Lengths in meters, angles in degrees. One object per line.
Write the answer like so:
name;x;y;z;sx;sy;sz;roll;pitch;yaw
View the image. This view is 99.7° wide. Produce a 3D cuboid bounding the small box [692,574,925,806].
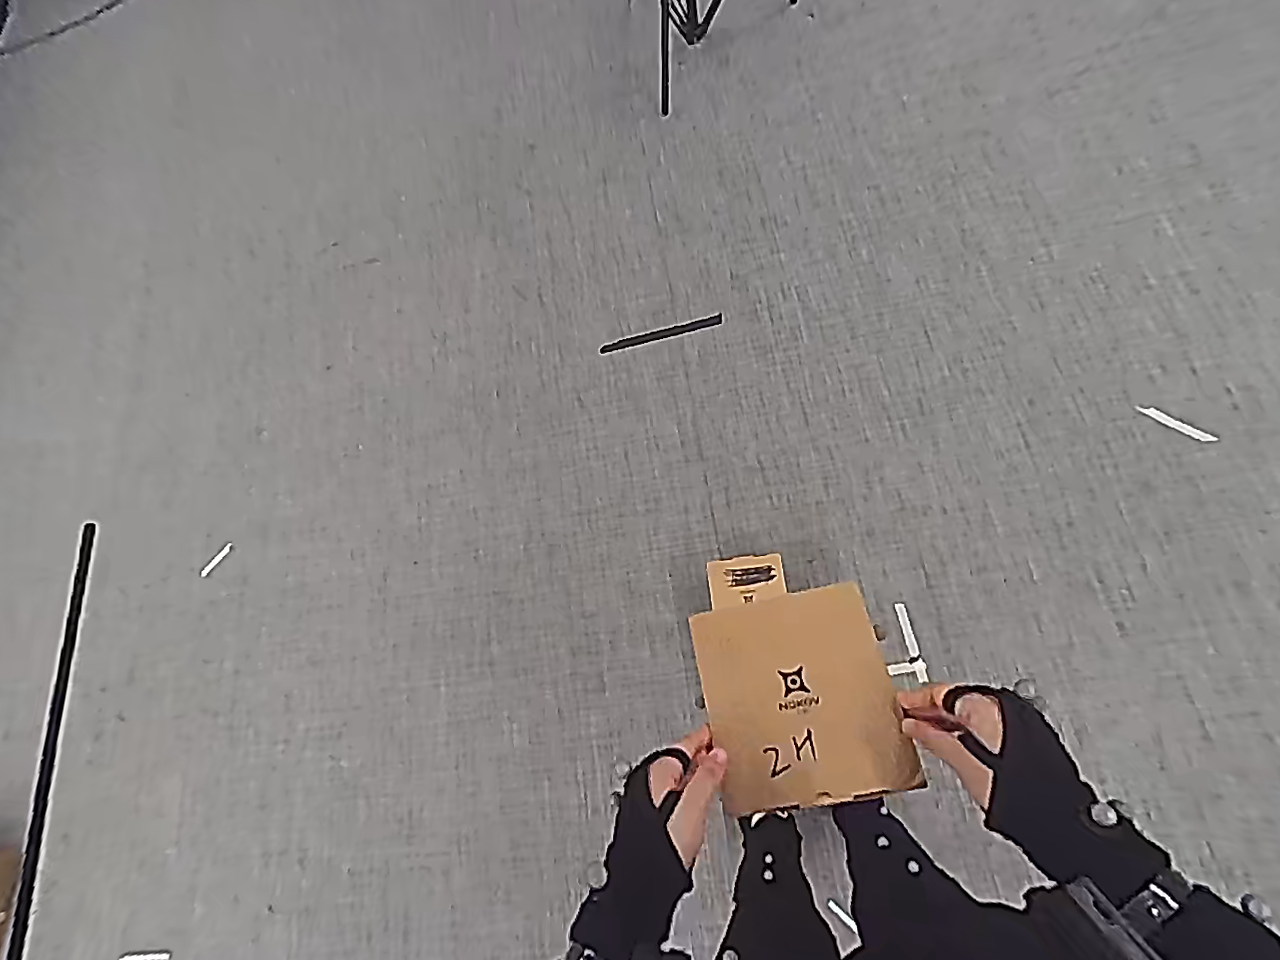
small box;0.158;0.215;0.551;0.168;0.176;0.179;-14;63;9
